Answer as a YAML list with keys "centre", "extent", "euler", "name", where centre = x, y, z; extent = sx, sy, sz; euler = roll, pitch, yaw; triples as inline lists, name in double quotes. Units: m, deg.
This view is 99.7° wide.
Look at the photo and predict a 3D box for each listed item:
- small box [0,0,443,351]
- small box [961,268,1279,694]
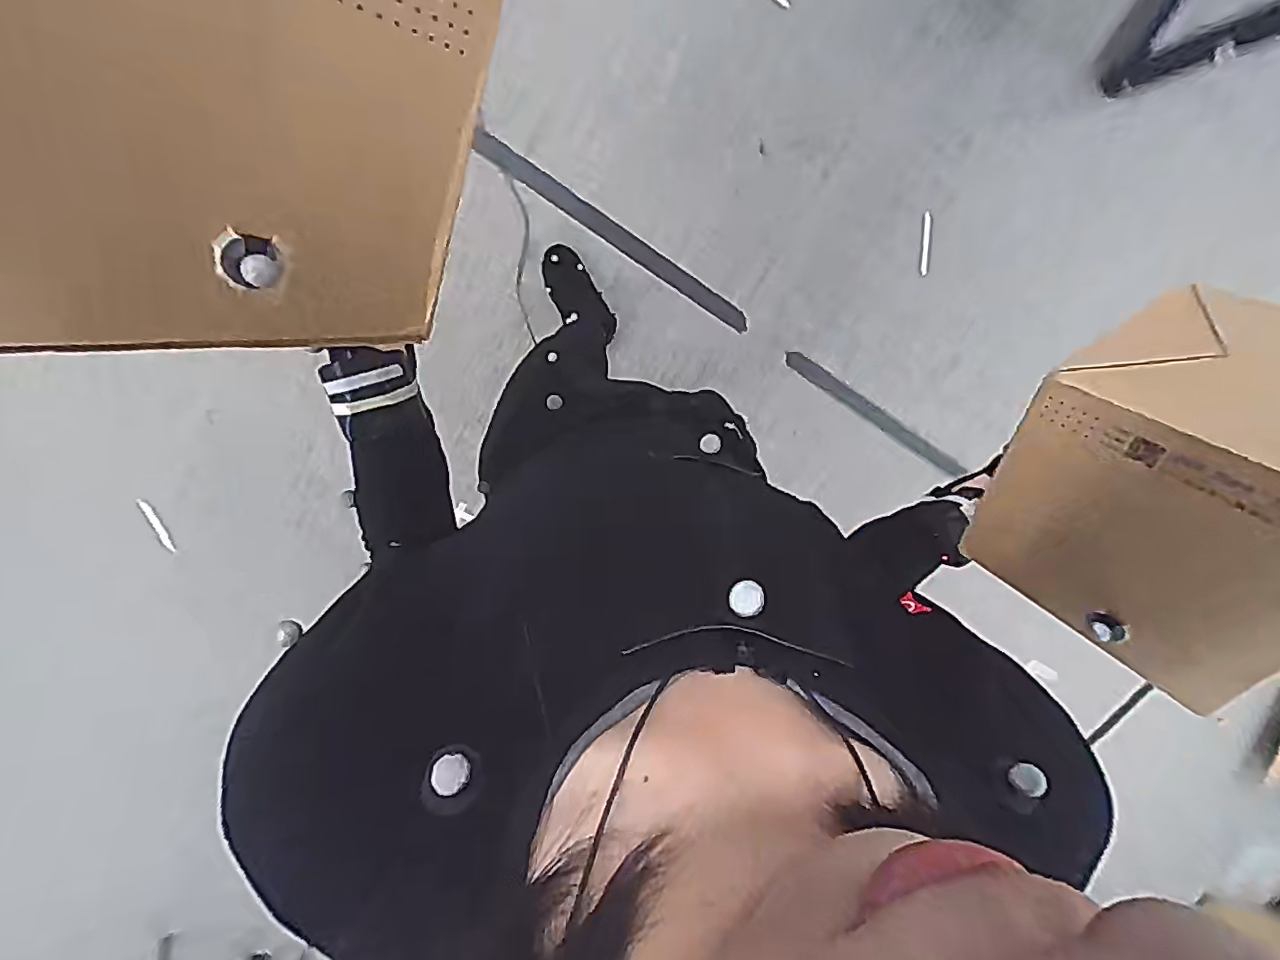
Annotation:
- centre: [-0.201, -0.172, 0.215]
  extent: [0.168, 0.179, 0.176]
  euler: [44, 128, 25]
  name: "small box"
- centre: [0.351, -0.012, 0.335]
  extent: [0.179, 0.168, 0.176]
  euler: [-29, 138, -19]
  name: "small box"
